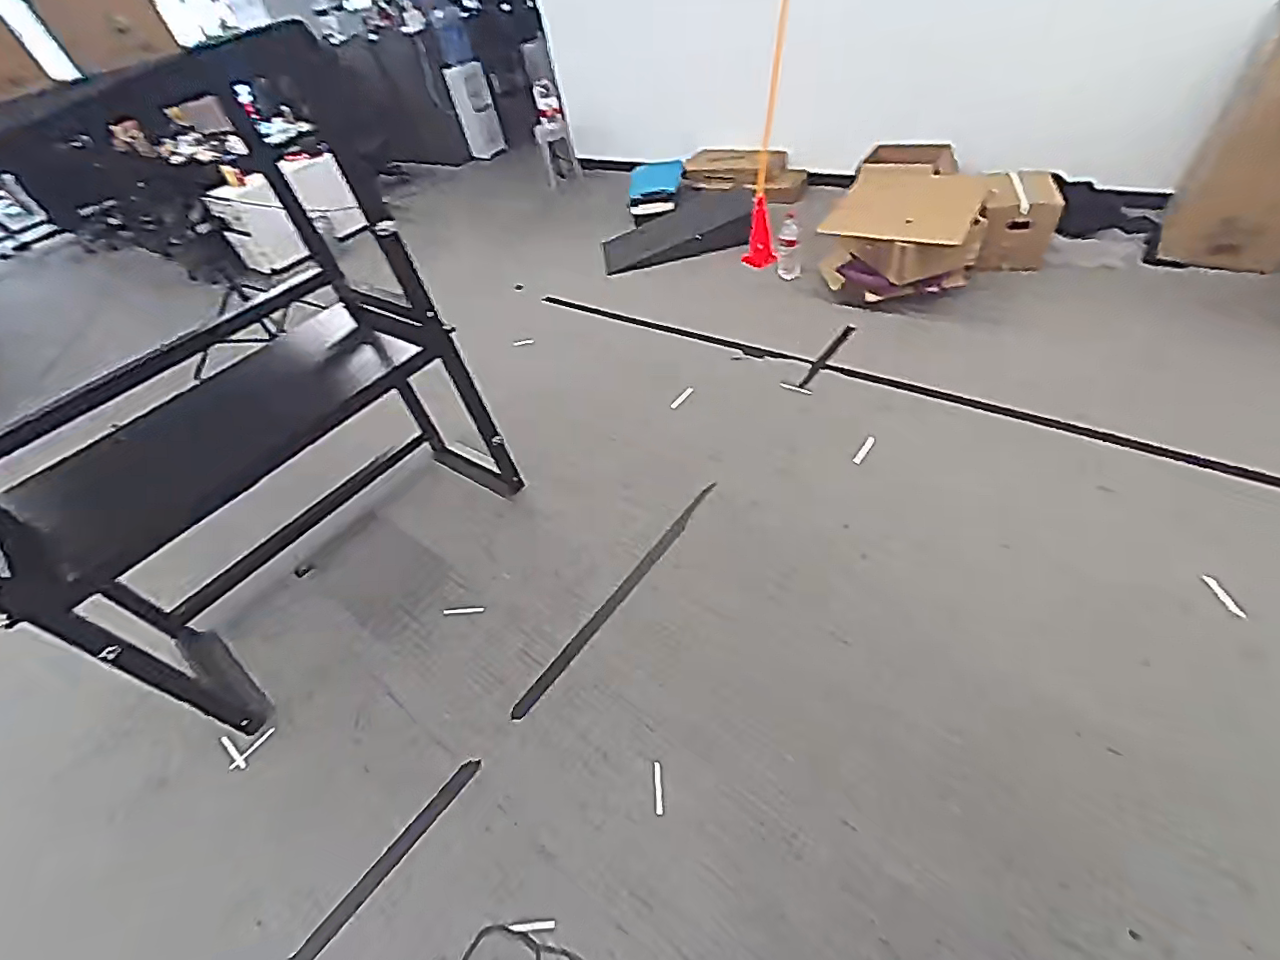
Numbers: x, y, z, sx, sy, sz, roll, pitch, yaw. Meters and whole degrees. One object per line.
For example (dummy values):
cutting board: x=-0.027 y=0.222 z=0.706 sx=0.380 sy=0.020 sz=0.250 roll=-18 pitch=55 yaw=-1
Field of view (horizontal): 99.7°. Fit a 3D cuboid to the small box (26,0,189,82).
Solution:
small box: x=-1.010 y=-0.871 z=1.016 sx=0.179 sy=0.176 sz=0.168 roll=25 pitch=58 yaw=33
